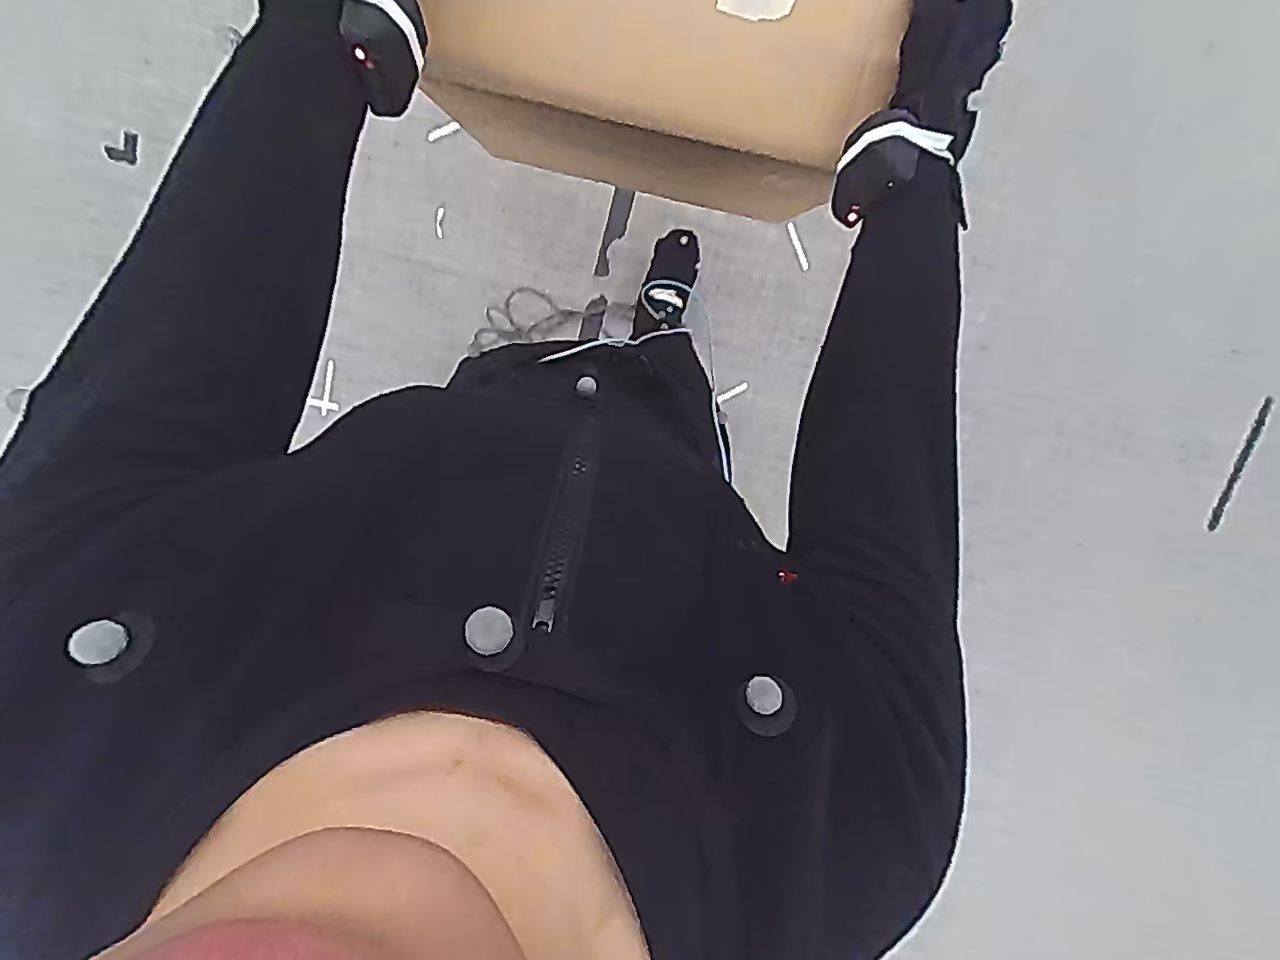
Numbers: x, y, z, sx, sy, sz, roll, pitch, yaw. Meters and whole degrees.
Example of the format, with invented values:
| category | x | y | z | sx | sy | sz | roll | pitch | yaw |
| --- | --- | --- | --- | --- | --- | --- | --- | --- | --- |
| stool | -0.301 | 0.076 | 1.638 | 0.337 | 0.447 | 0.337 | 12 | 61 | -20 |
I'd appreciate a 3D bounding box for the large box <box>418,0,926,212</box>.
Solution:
| category | x | y | z | sx | sy | sz | roll | pitch | yaw |
| --- | --- | --- | --- | --- | --- | --- | --- | --- | --- |
| large box | 0.037 | -0.496 | 0.546 | 0.408 | 0.320 | 0.320 | 11 | 110 | -5 |
